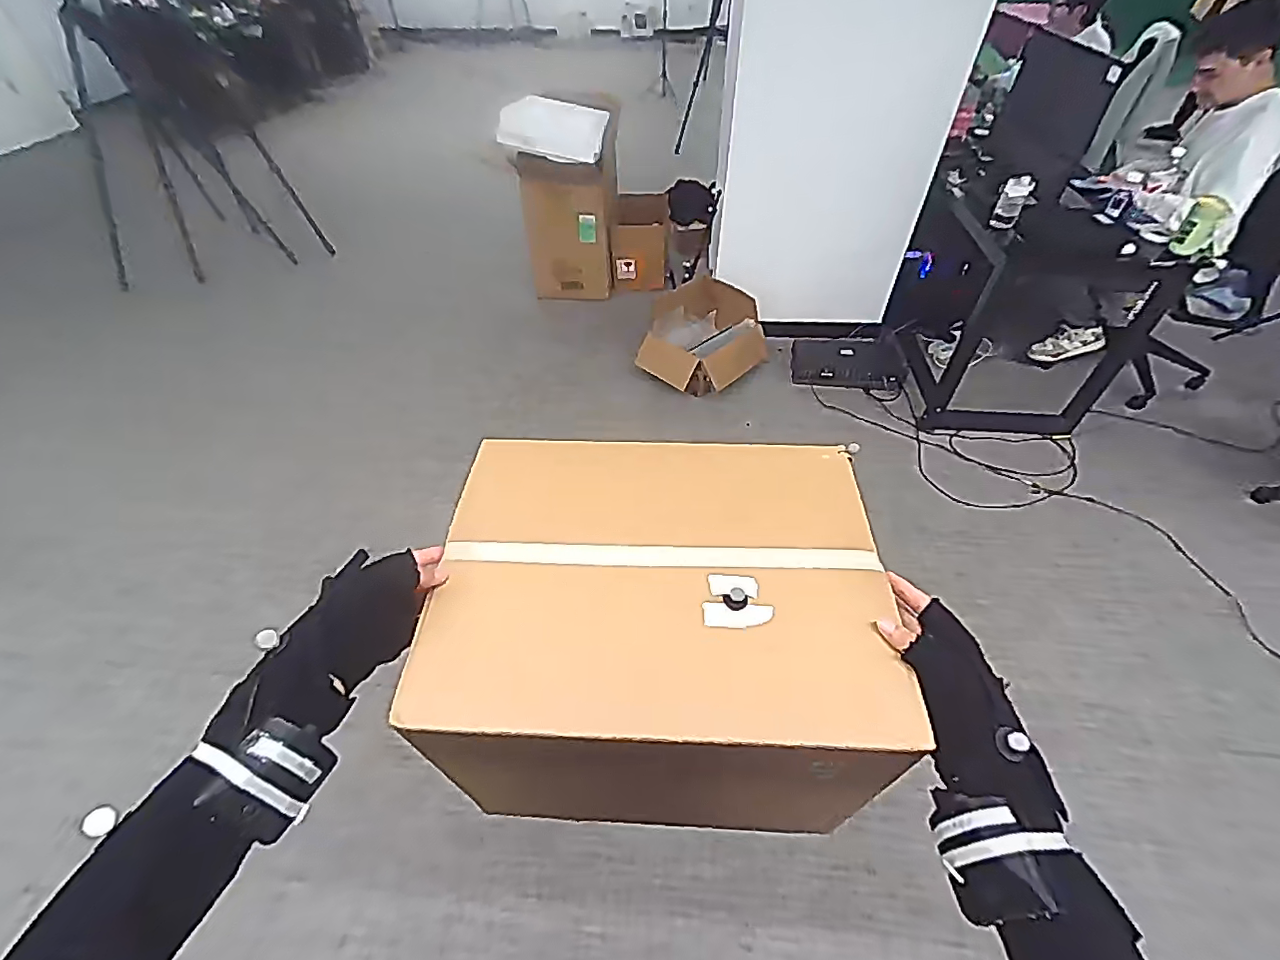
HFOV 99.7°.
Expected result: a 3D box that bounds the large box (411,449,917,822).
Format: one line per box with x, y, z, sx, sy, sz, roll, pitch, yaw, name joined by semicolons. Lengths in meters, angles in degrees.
0.021;0.181;0.626;0.408;0.320;0.320;2;48;2;large box
